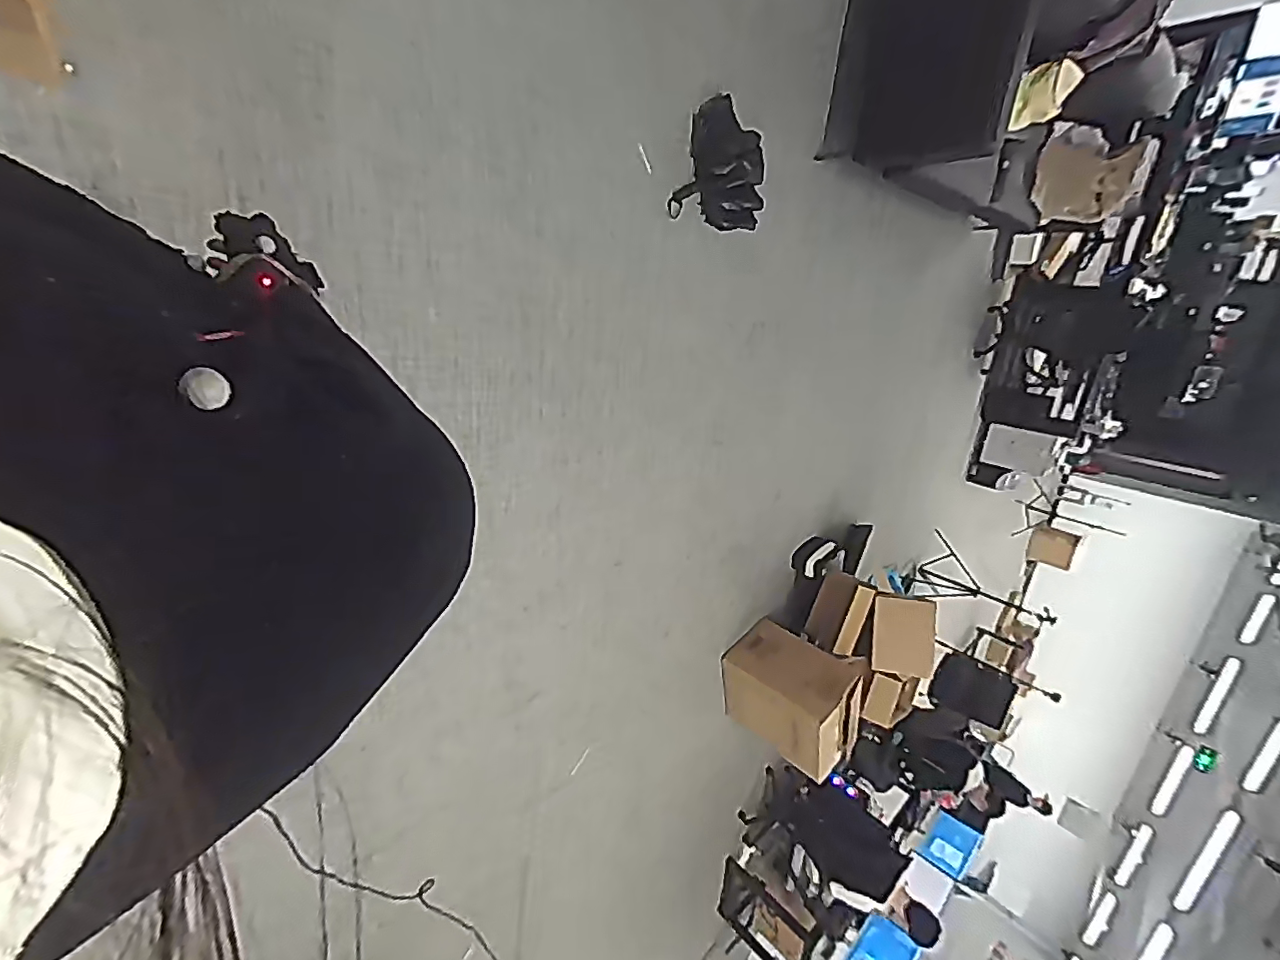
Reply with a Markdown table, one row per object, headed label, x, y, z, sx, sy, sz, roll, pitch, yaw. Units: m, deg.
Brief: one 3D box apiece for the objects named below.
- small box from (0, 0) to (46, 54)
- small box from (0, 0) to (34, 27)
| label | x | y | z | sx | sy | sz | roll | pitch | yaw |
| --- | --- | --- | --- | --- | --- | --- | --- | --- | --- |
| small box | -0.854 | -0.650 | 0.651 | 0.179 | 0.176 | 0.168 | -7 | 114 | -42 |
| small box | -0.744 | -0.598 | 0.539 | 0.179 | 0.176 | 0.168 | -4 | 109 | -43 |
